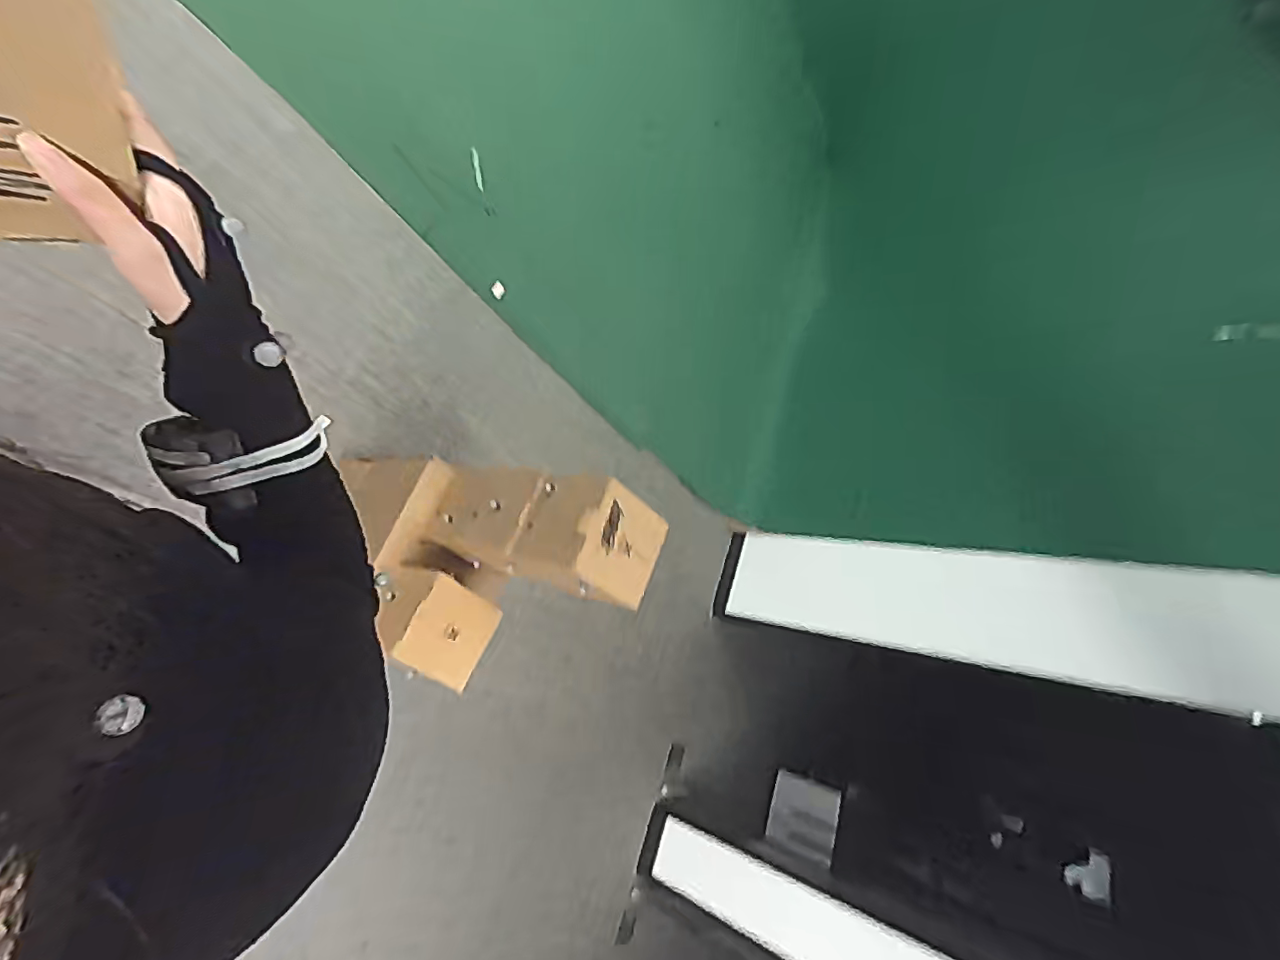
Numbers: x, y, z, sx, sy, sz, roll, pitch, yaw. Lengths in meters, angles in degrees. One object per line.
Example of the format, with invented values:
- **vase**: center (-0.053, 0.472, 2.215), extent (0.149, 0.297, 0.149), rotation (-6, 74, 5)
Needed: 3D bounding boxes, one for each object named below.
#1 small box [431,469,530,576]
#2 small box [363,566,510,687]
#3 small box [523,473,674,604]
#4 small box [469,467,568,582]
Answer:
- **small box**: center (-0.316, 0.090, 1.175), extent (0.179, 0.176, 0.168), rotation (43, 61, -40)
- **small box**: center (-0.403, 0.284, 1.075), extent (0.179, 0.176, 0.168), rotation (49, 54, -38)
- **small box**: center (-0.074, 0.100, 0.954), extent (0.179, 0.176, 0.168), rotation (41, 63, -42)
- **small box**: center (-0.200, 0.087, 1.059), extent (0.179, 0.176, 0.168), rotation (41, 64, -40)
